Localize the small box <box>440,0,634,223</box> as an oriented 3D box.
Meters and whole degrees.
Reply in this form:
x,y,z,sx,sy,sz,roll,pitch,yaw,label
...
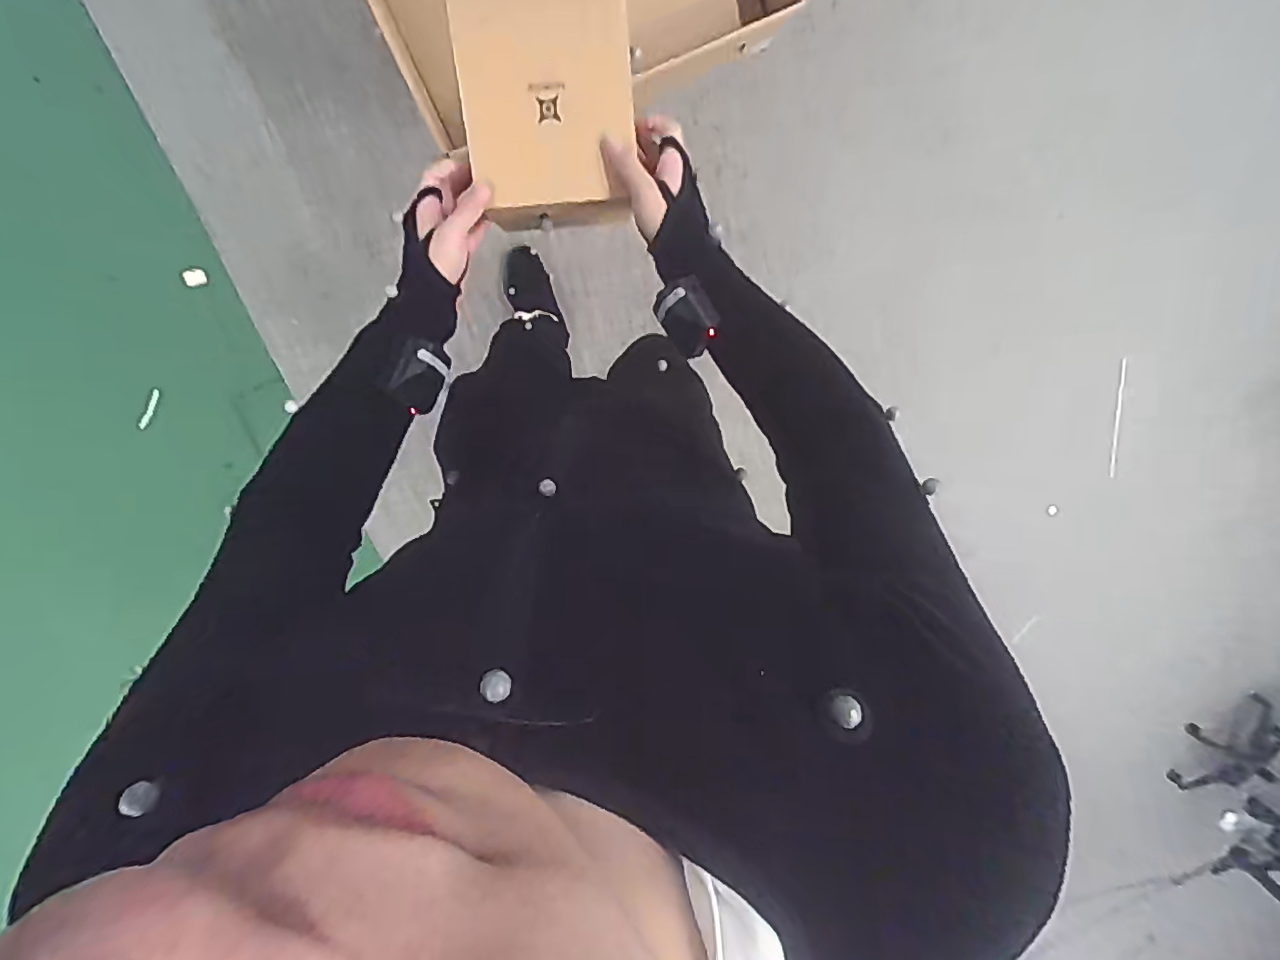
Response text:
x,y,z,sx,sy,sz,roll,pitch,yaw,label
-0.095,-0.382,0.578,0.168,0.176,0.179,-6,106,-3,small box
